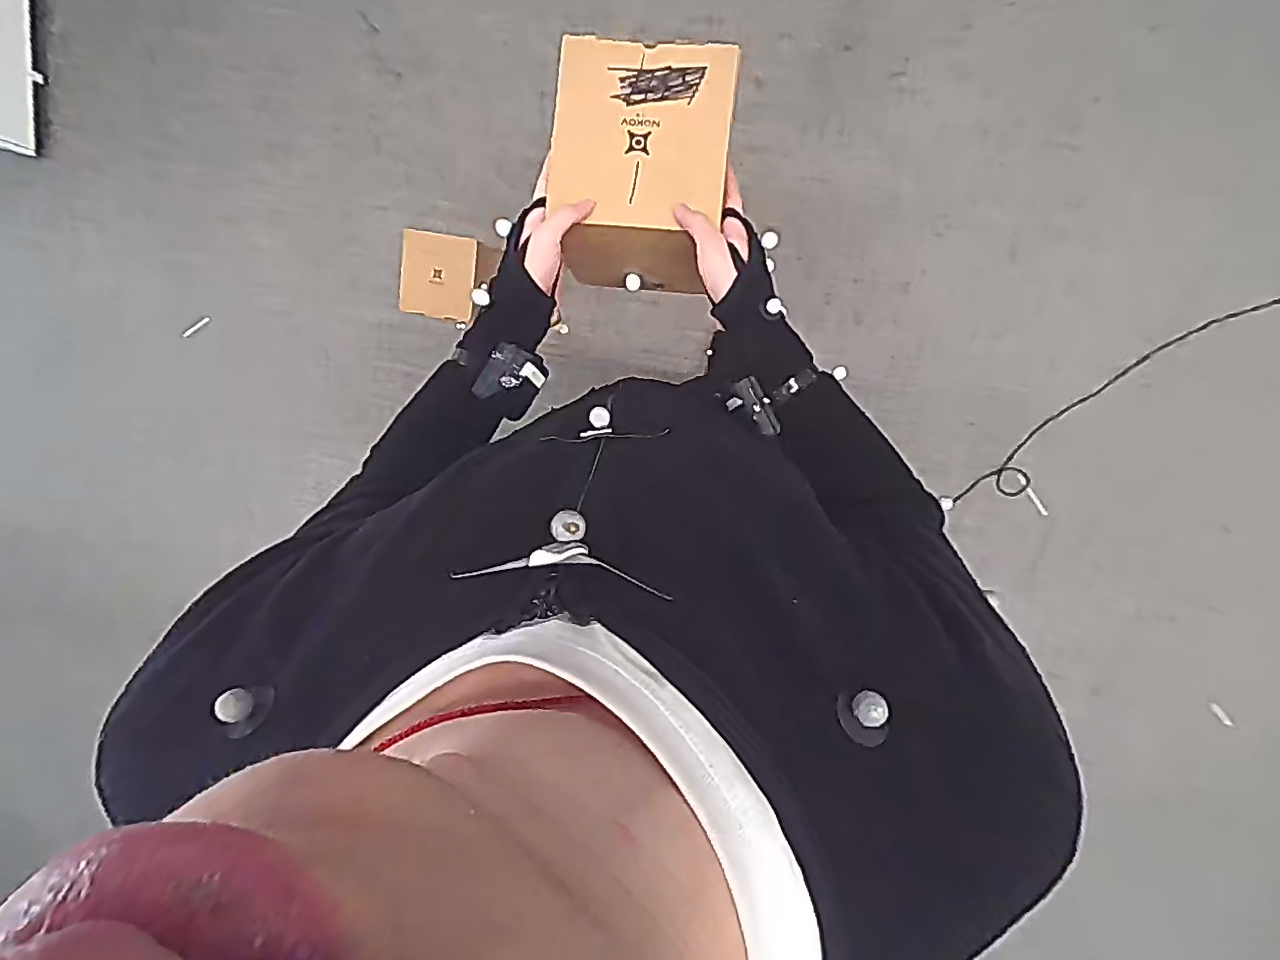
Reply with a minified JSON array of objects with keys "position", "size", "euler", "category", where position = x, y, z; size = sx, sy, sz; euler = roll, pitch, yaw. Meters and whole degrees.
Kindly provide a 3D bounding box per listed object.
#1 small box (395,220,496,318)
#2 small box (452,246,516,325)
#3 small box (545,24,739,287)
[{"position":[-0.442,-0.477,1.248],"size":[0.168,0.176,0.179],"euler":[9,102,2],"category":"small box"},{"position":[-0.430,-0.511,1.406],"size":[0.168,0.176,0.179],"euler":[11,103,2],"category":"small box"},{"position":[0.005,-0.328,0.576],"size":[0.168,0.176,0.179],"euler":[6,91,4],"category":"small box"}]
